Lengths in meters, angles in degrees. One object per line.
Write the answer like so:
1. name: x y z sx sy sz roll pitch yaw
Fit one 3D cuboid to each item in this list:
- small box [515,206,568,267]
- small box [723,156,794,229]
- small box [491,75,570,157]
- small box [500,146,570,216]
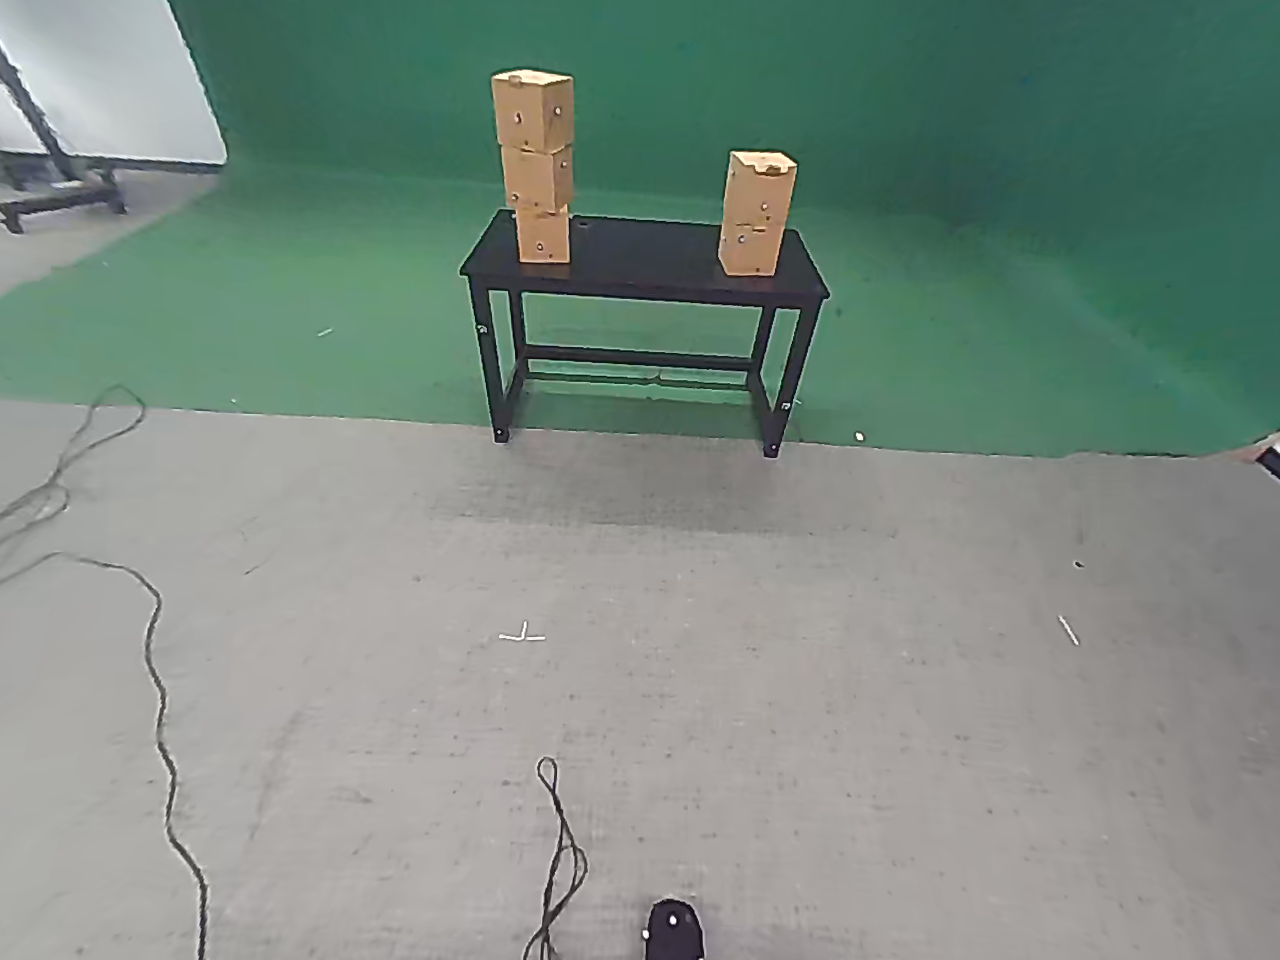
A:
1. small box: -0.330 -0.839 1.830 0.168 0.176 0.179 -2 45 -8
2. small box: 0.372 -0.922 1.732 0.168 0.176 0.179 -3 43 -6
3. small box: -0.315 -1.082 1.608 0.168 0.176 0.179 21 47 15
4. small box: -0.323 -0.958 1.717 0.168 0.176 0.179 13 44 7
